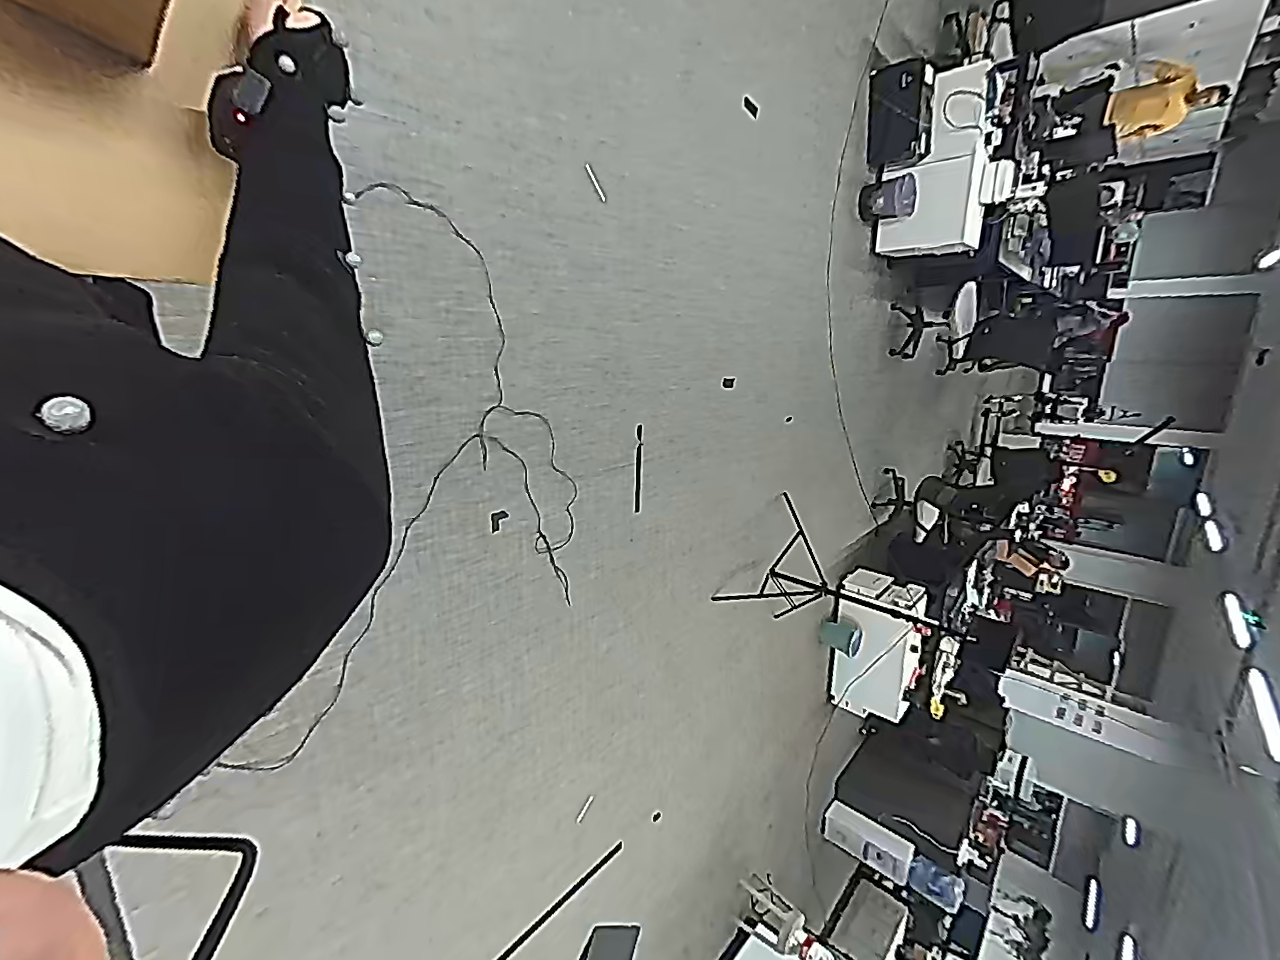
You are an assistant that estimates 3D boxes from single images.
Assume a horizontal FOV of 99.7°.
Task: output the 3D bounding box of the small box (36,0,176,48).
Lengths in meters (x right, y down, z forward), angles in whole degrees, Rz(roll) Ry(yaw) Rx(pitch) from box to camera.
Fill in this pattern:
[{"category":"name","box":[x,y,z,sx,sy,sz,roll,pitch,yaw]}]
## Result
[{"category":"small box","box":[-0.410,-0.441,0.355,0.179,0.176,0.168,7,95,-47]}]
